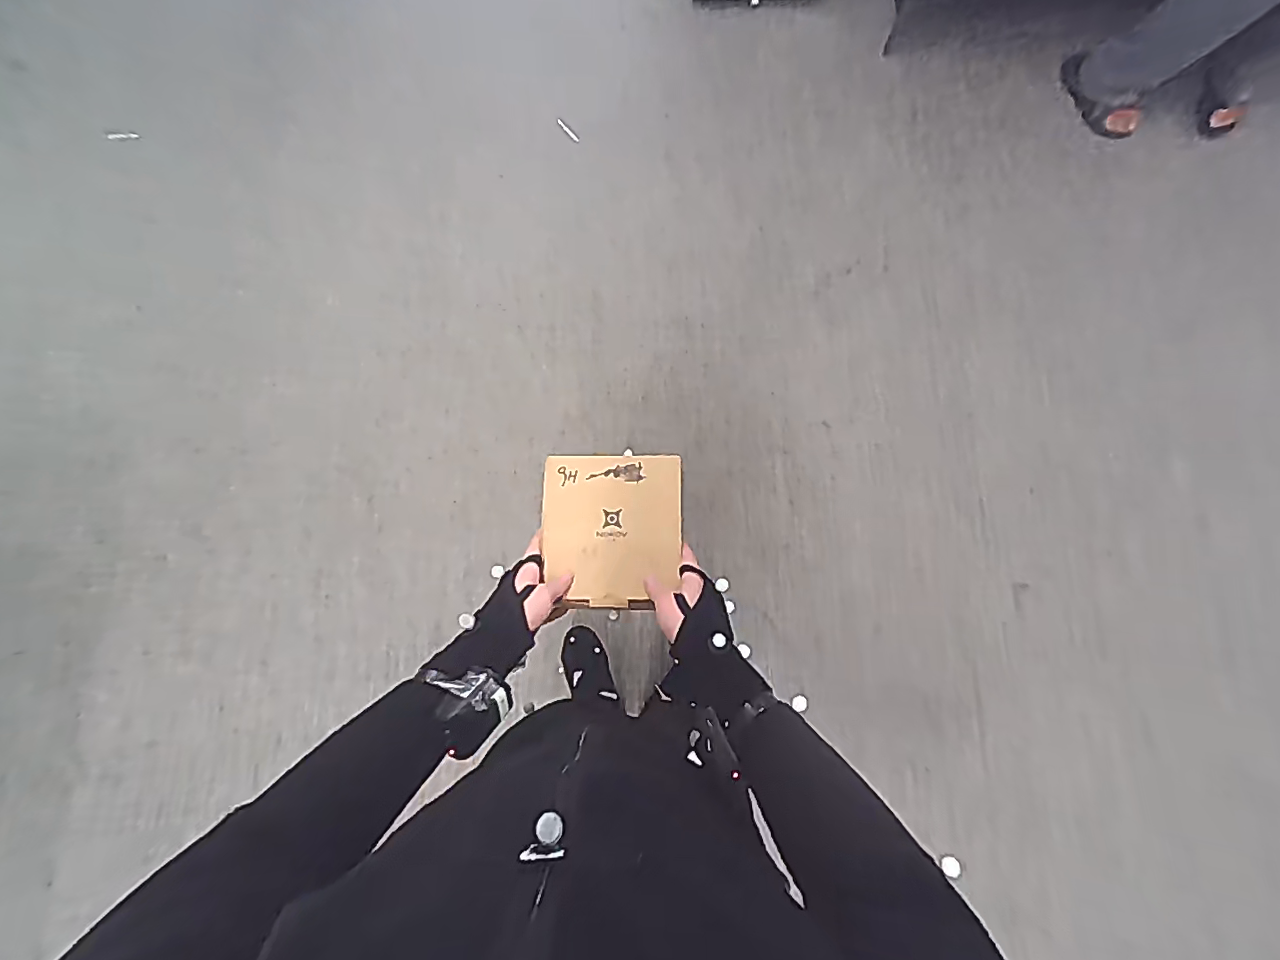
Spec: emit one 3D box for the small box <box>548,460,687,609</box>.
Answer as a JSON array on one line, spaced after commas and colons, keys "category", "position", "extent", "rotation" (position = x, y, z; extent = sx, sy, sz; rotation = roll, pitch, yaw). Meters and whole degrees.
[{"category": "small box", "position": [-0.024, 0.081, 0.721], "extent": [0.168, 0.176, 0.179], "rotation": [-2, 74, 1]}]
